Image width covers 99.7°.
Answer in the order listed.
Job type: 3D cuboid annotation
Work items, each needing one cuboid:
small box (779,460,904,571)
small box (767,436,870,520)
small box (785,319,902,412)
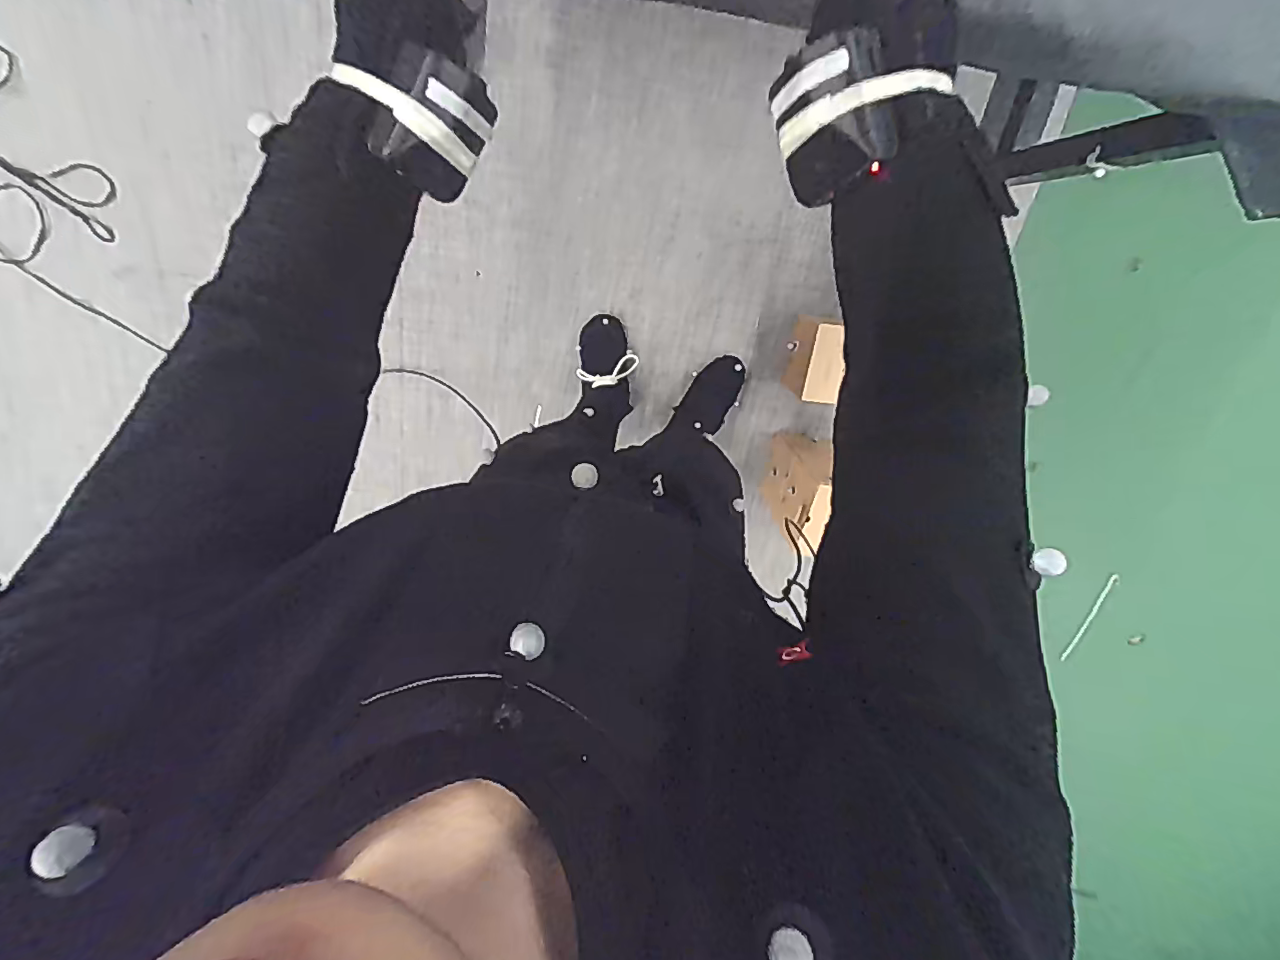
[{"bbox_3d":[0.422,0.070,1.165,0.179,0.176,0.168,11,113,-4],"label":"small box"},{"bbox_3d":[0.422,0.004,1.314,0.179,0.176,0.168,10,114,-3],"label":"small box"},{"bbox_3d":[0.443,-0.260,1.204,0.179,0.176,0.168,6,112,-1],"label":"small box"}]
